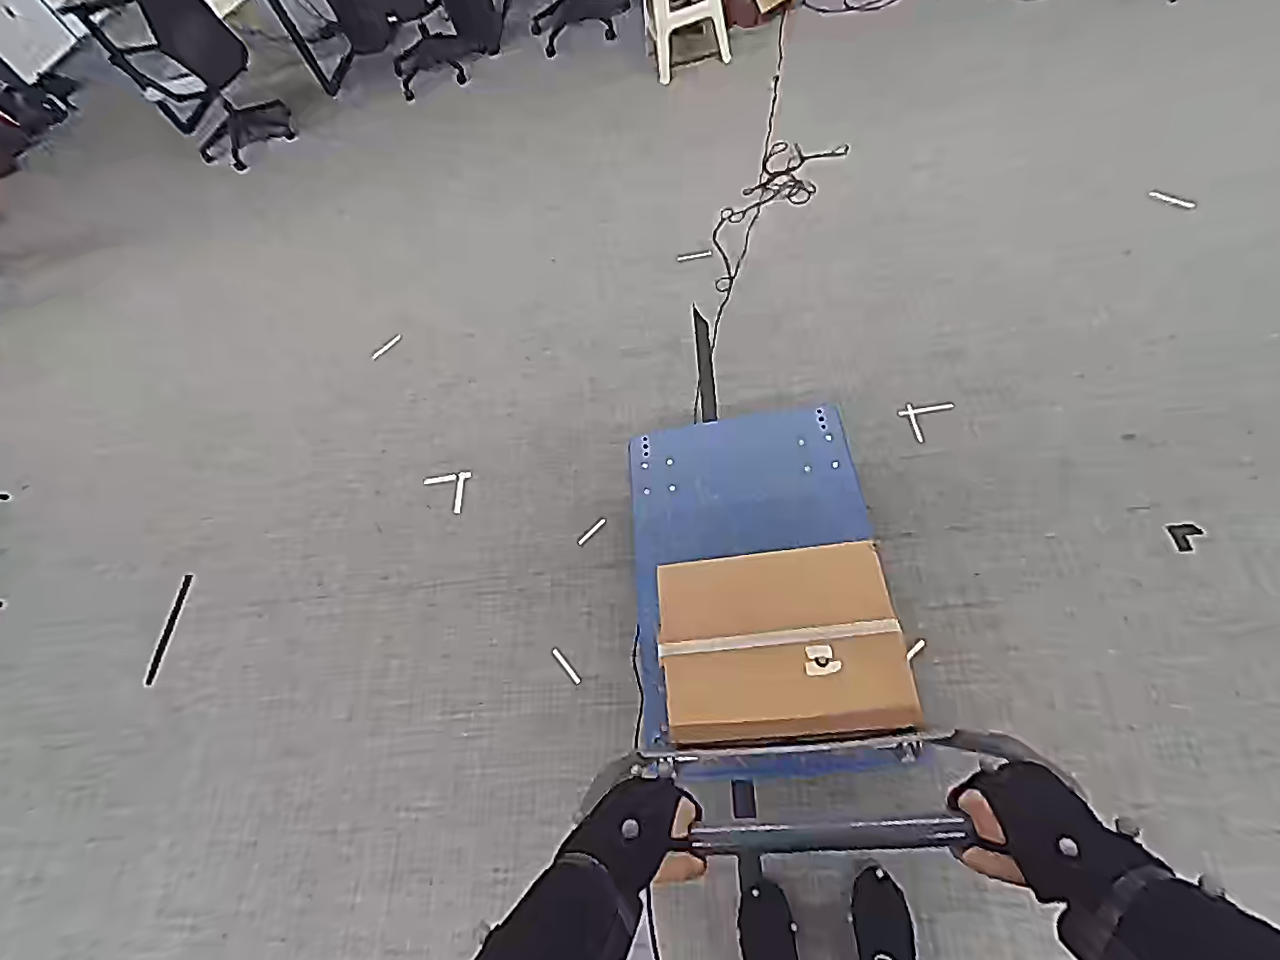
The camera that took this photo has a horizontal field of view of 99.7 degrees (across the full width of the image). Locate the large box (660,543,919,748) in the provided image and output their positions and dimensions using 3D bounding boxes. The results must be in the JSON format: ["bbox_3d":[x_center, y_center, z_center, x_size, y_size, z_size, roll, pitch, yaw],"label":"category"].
[{"bbox_3d":[0.270,0.348,1.087,0.408,0.320,0.320,-8,63,8],"label":"large box"}]
